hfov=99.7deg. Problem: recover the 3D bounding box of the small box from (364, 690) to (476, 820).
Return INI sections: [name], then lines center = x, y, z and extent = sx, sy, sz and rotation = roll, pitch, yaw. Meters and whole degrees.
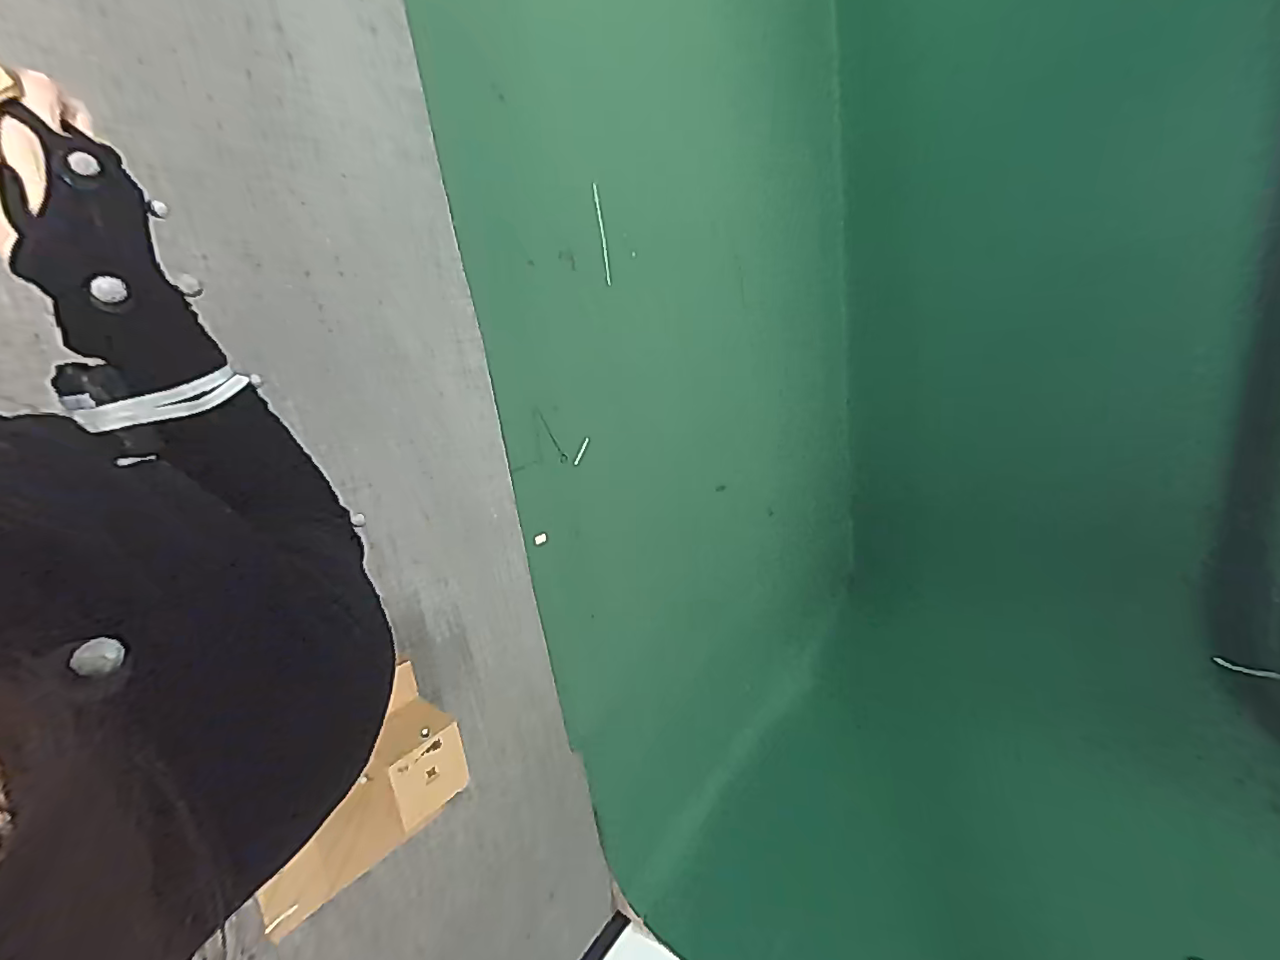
[small box]
center = -0.510, 0.626, 1.255
extent = 0.168, 0.176, 0.179
rotation = -24, 114, -47
